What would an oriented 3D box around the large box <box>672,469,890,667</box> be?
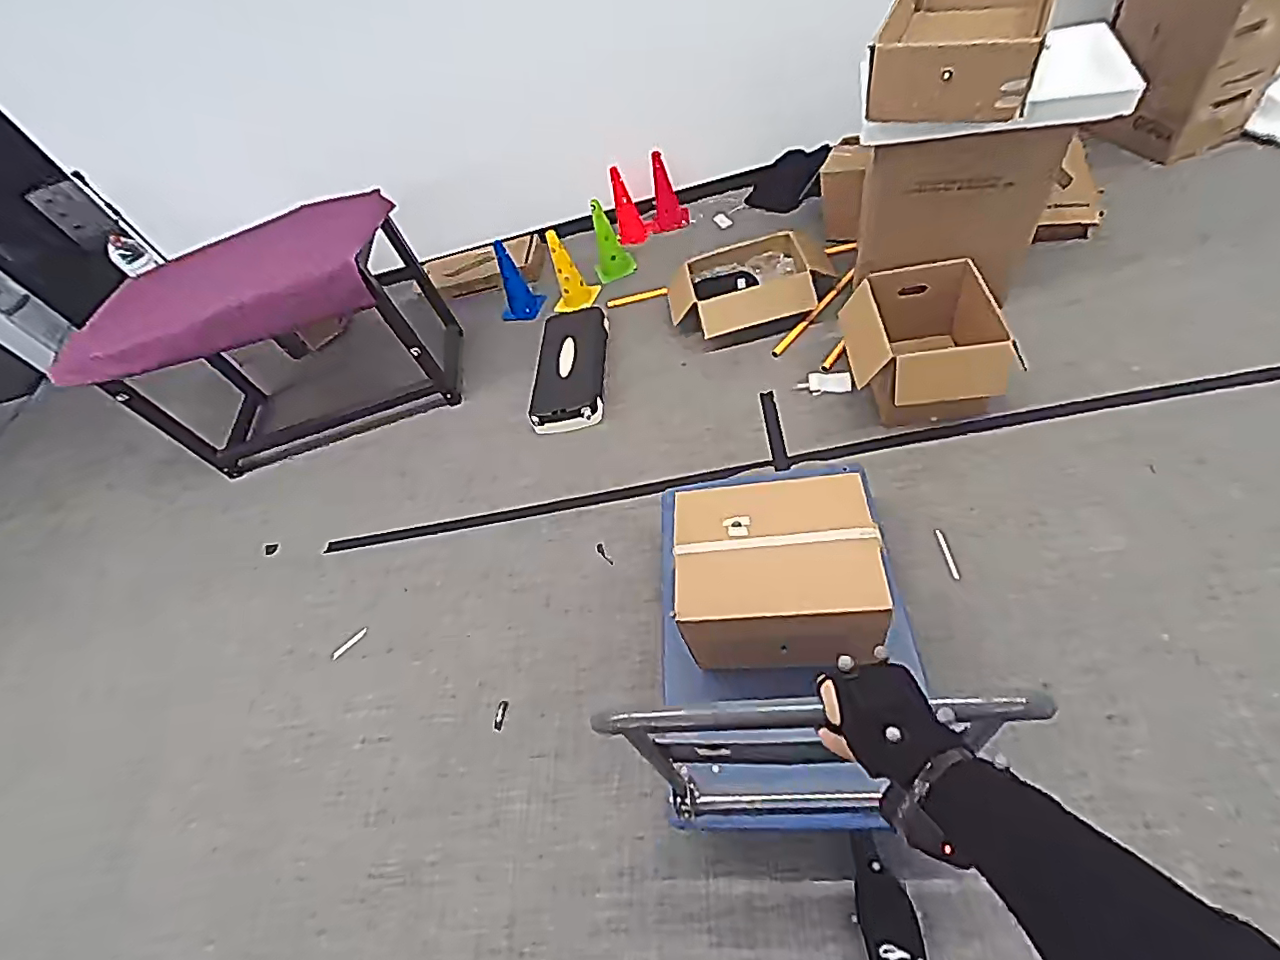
[{"bbox_3d":[0.302,0.213,1.214,0.408,0.320,0.320,-8,51,14],"label":"large box"}]
